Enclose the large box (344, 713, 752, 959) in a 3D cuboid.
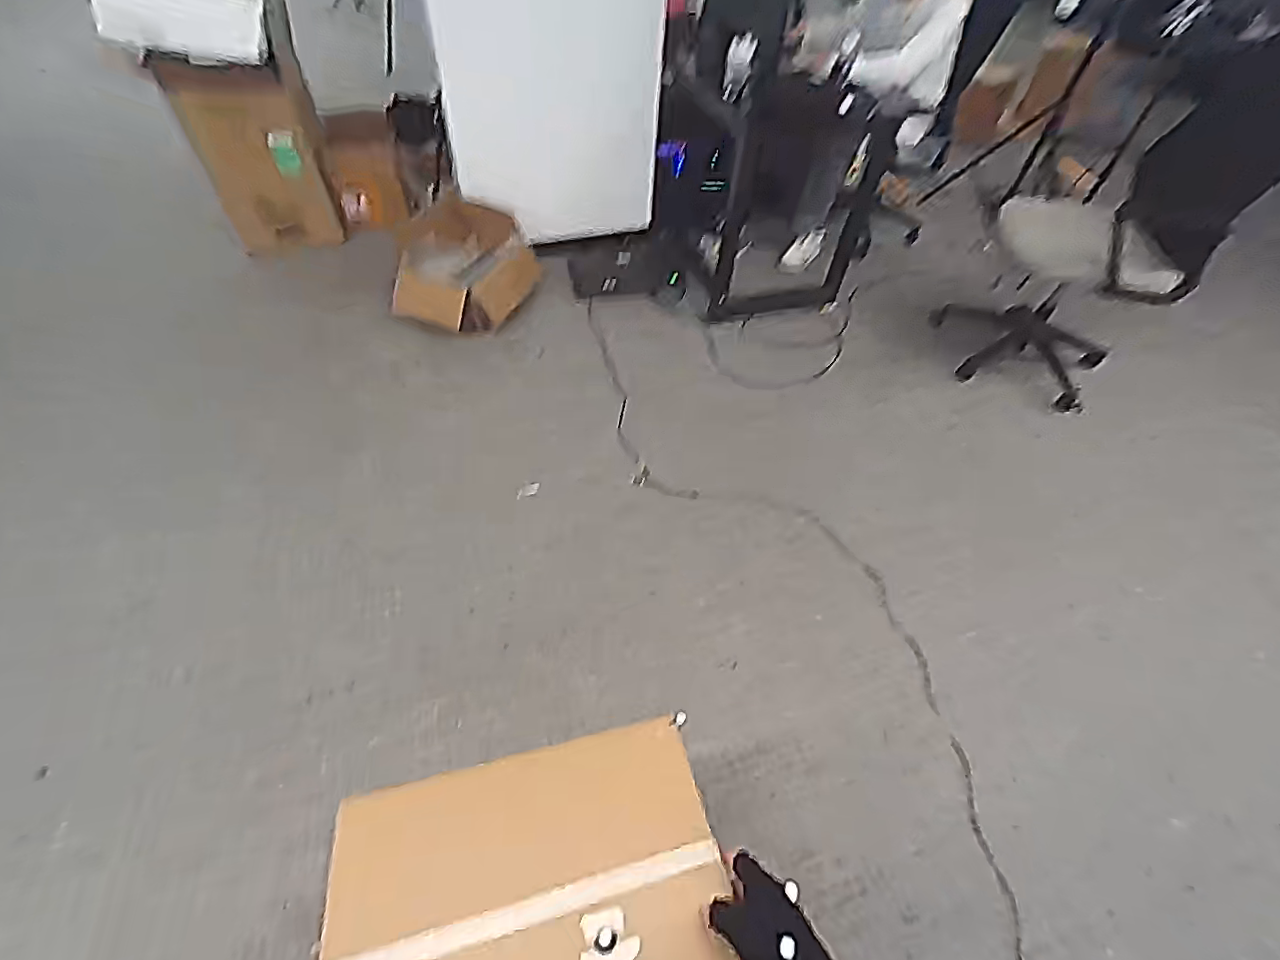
[{"bbox_3d":[-0.113,0.556,0.683,0.408,0.320,0.320,-9,45,-12],"label":"large box"}]
